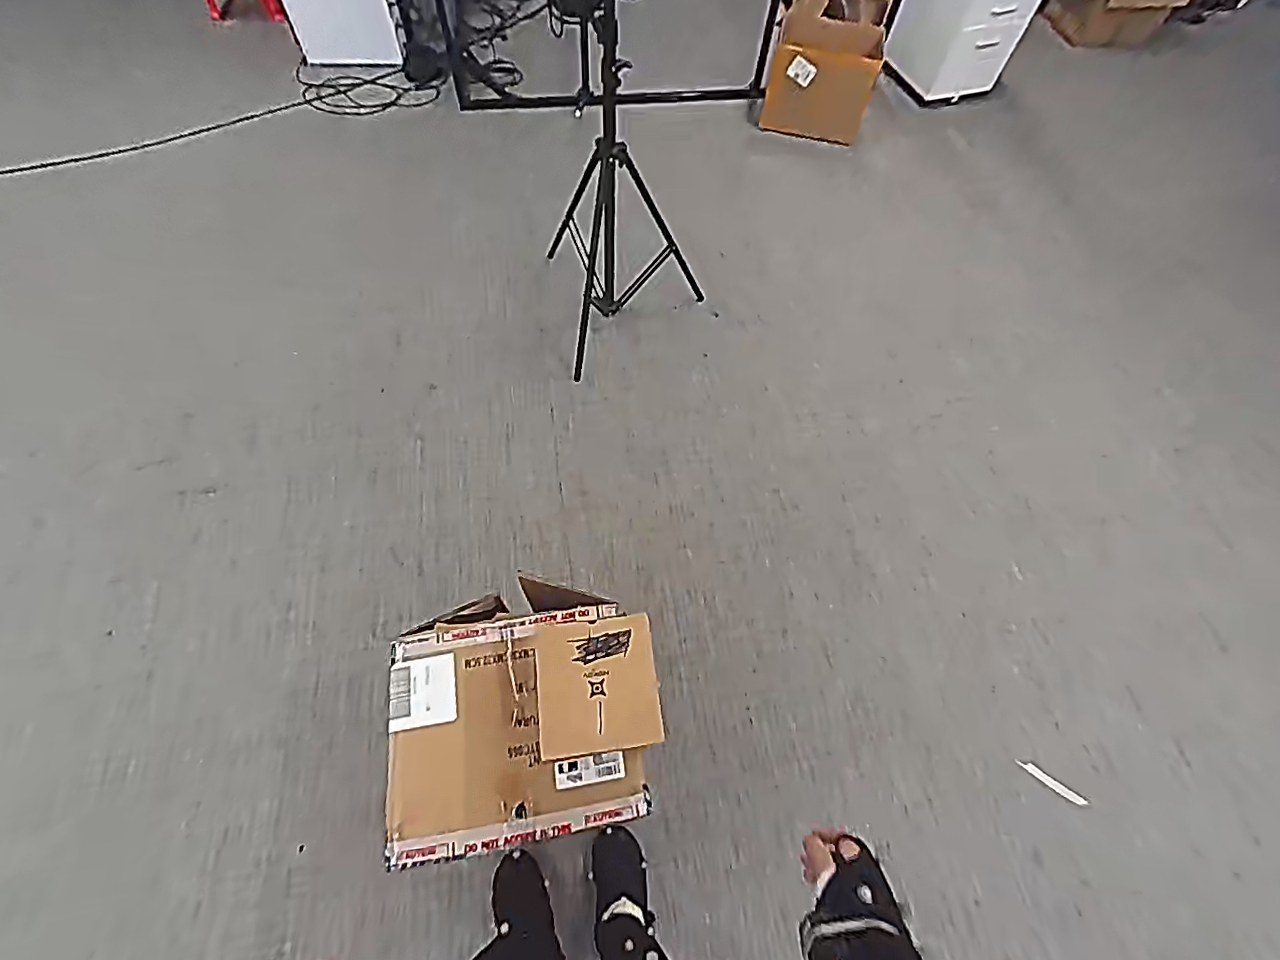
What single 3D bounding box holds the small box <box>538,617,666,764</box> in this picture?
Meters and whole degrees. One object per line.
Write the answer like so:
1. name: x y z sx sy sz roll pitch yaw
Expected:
1. small box: -0.064 0.319 0.810 0.168 0.176 0.179 -5 64 -8
